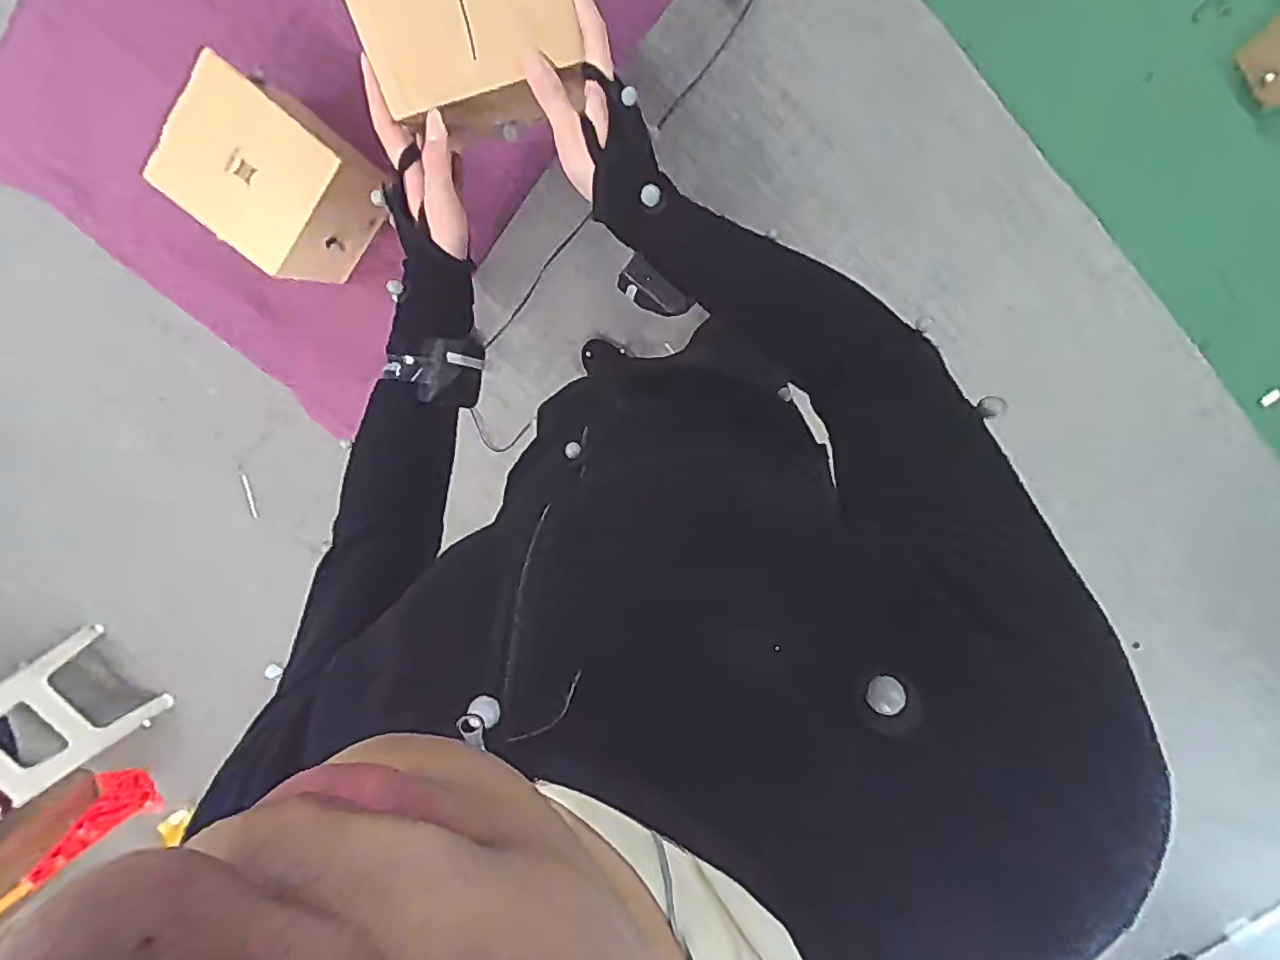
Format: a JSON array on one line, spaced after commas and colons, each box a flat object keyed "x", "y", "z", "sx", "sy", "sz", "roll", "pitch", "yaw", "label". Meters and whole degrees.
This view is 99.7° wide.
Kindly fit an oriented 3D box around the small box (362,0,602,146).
[{"x": -0.134, "y": -0.414, "z": 0.462, "sx": 0.168, "sy": 0.176, "sz": 0.179, "roll": -14, "pitch": 115, "yaw": 3, "label": "small box"}]

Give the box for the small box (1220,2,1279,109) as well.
[{"x": 1.537, "y": -1.018, "z": 1.251, "sx": 0.168, "sy": 0.176, "sz": 0.179, "roll": 42, "pitch": 102, "yaw": -11, "label": "small box"}]

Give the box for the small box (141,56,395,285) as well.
[{"x": -0.452, "y": -0.370, "z": 0.689, "sx": 0.179, "sy": 0.176, "sz": 0.168, "roll": 38, "pitch": 103, "yaw": -10, "label": "small box"}]
